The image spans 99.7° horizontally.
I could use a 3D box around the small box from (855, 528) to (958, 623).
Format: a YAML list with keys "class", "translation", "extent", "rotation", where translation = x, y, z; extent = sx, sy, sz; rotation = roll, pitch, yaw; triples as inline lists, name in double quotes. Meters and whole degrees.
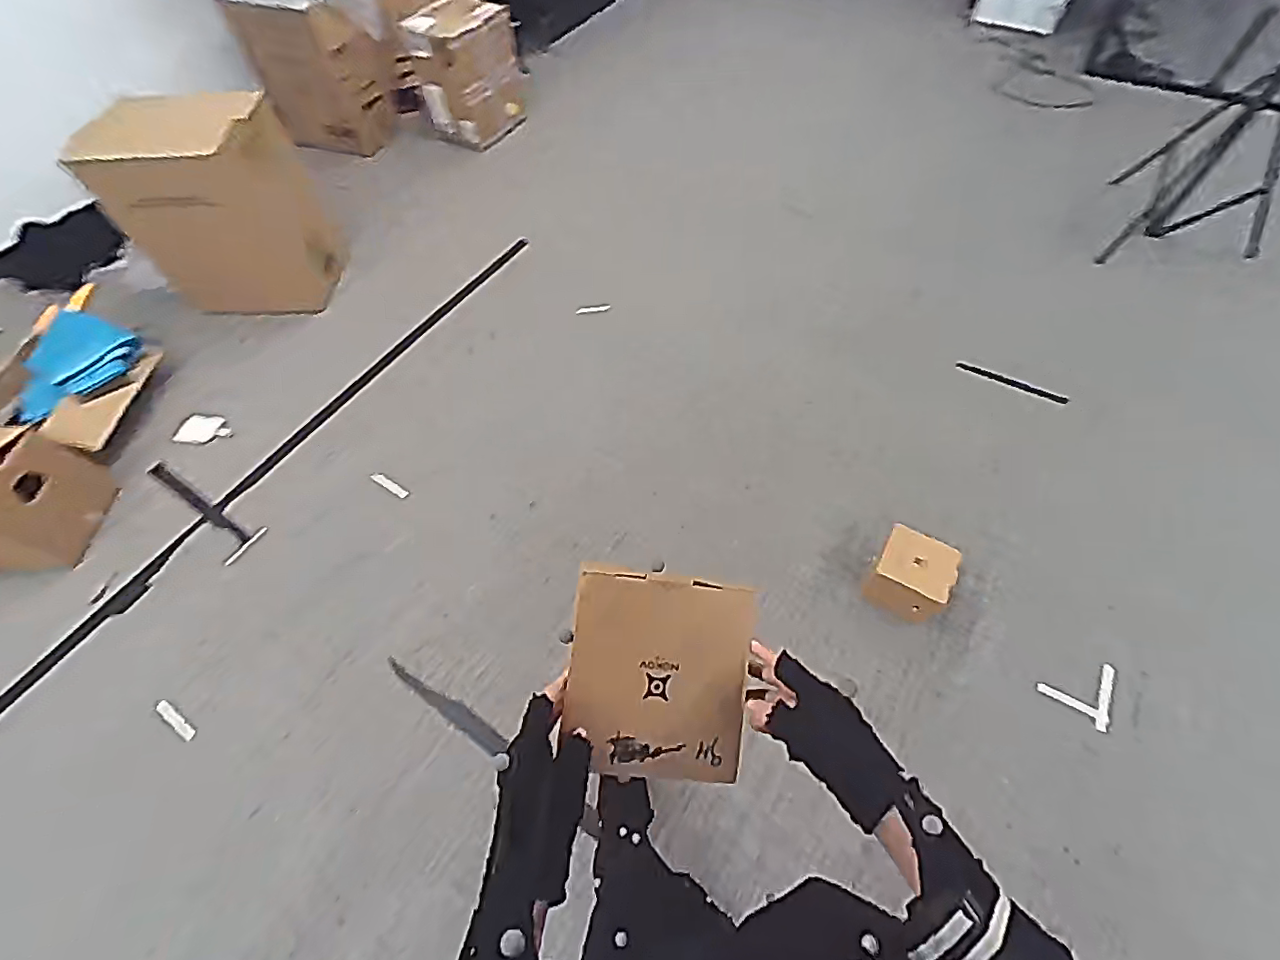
- class: "small box"
  translation: [0.705, 0.263, 1.446]
  extent: [0.179, 0.176, 0.168]
  rotation: [26, 62, 18]

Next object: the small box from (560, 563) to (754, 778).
- class: "small box"
  translation: [0.010, 0.185, 0.575]
  extent: [0.168, 0.176, 0.179]
  rotation: [8, 82, -5]
